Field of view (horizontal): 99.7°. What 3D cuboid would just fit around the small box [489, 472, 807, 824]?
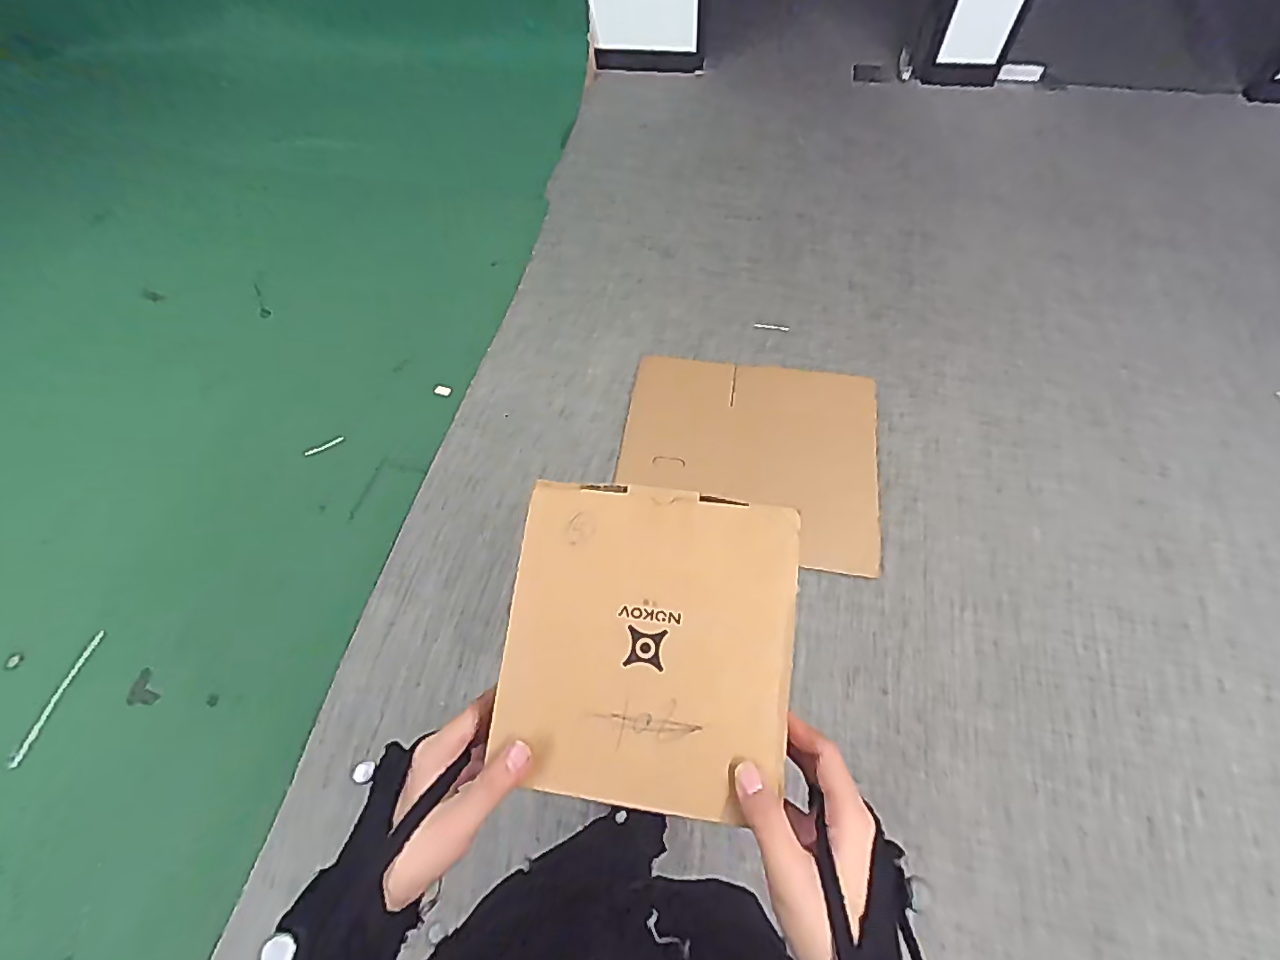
[{"bbox_3d":[0.014,0.106,0.388,0.168,0.176,0.179,6,78,8],"label":"small box"}]
